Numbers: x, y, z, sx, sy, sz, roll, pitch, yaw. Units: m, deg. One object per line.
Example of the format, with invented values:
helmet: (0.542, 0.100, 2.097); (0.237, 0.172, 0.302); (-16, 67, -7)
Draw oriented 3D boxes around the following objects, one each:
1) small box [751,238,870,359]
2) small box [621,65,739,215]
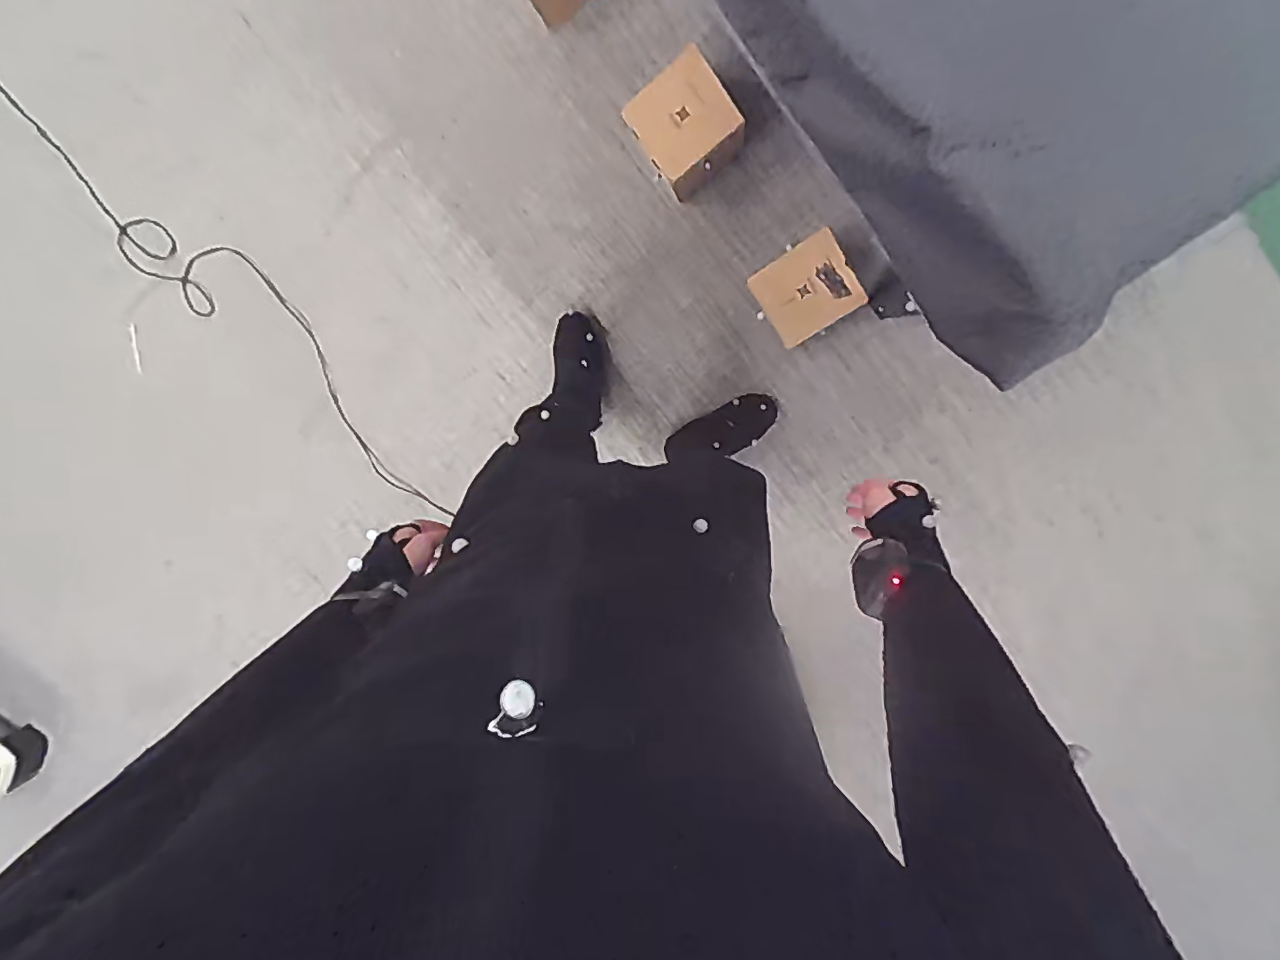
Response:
small box: (0.347, -0.373, 1.134); (0.179, 0.176, 0.168); (-33, 96, 18)
small box: (0.089, -0.682, 1.113); (0.179, 0.176, 0.168); (-37, 96, 16)
